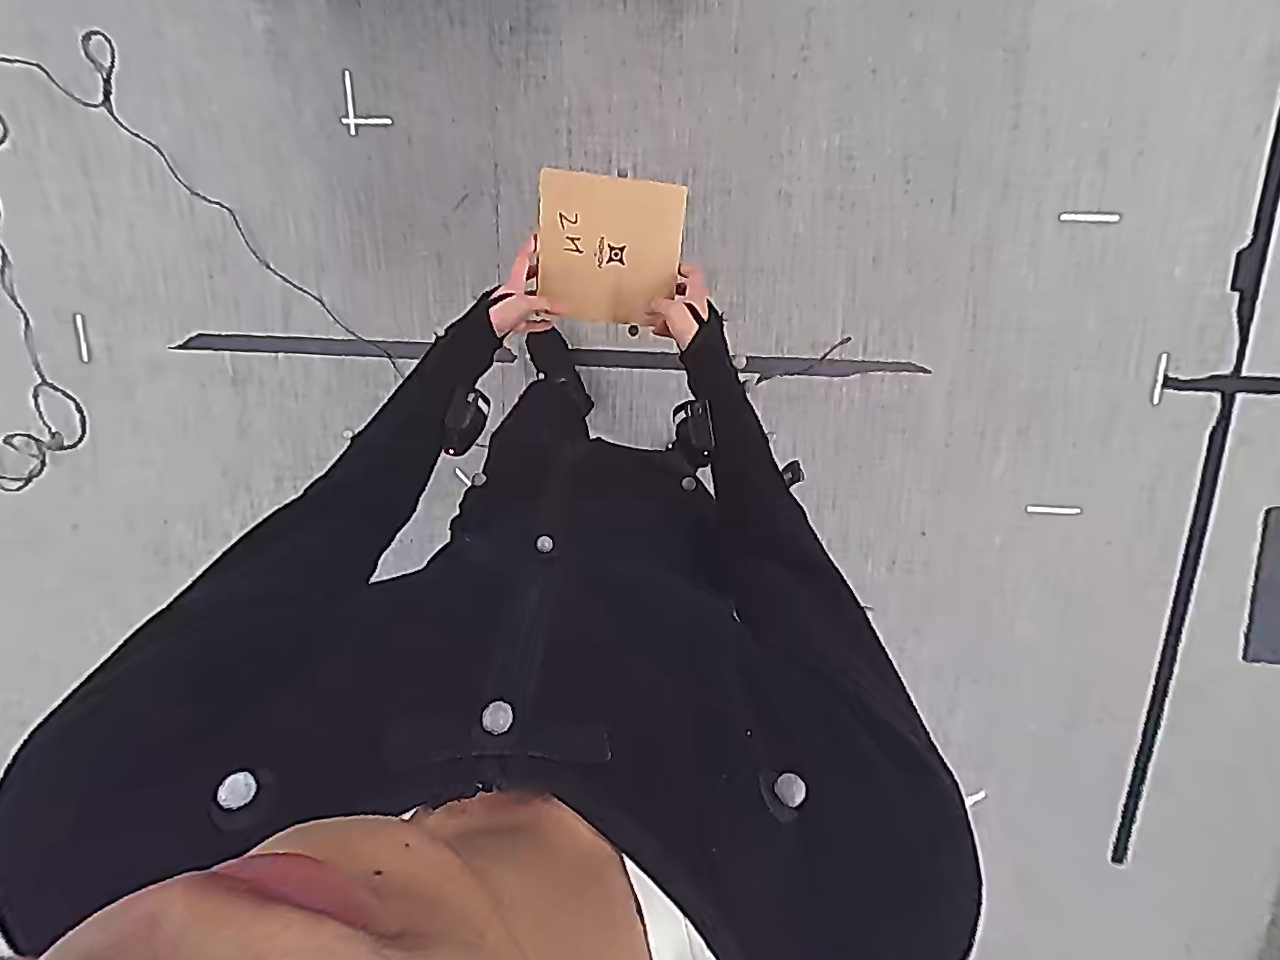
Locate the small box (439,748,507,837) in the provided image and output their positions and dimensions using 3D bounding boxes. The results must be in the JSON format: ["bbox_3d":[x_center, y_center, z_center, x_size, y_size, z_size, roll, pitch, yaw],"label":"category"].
[{"bbox_3d":[-0.528,0.995,1.729,0.168,0.176,0.179,2,99,1],"label":"small box"}]

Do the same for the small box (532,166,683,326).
[{"bbox_3d":[-0.049,-0.309,0.731,0.179,0.176,0.168,4,111,-6],"label":"small box"}]
